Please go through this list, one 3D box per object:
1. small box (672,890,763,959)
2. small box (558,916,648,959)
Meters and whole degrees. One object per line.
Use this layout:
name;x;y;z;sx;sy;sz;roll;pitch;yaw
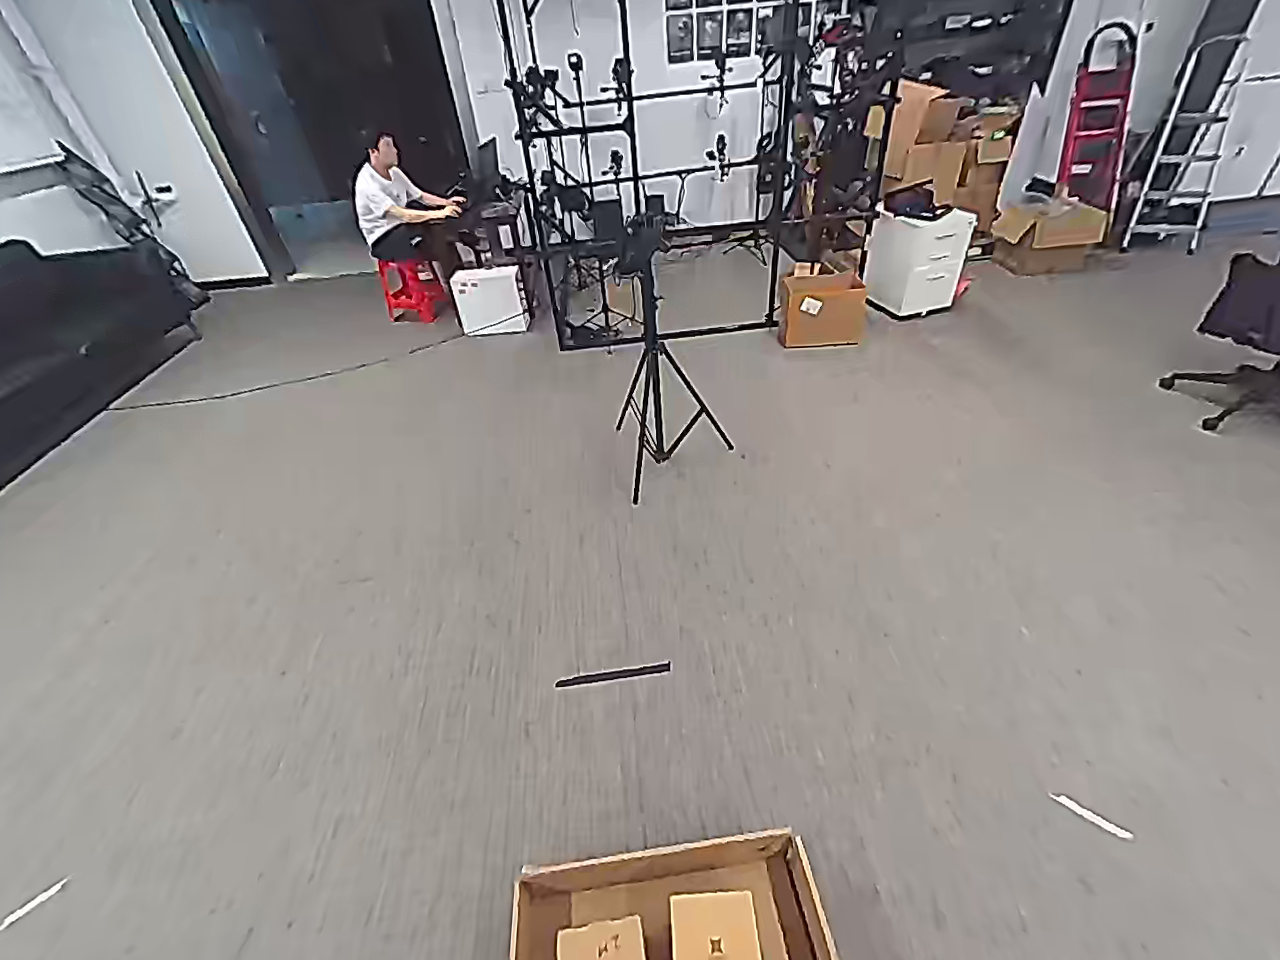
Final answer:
small box;0.151;0.938;1.060;0.168;0.176;0.179;-5;39;2
small box;-0.063;0.977;1.033;0.168;0.176;0.179;-7;38;-5
